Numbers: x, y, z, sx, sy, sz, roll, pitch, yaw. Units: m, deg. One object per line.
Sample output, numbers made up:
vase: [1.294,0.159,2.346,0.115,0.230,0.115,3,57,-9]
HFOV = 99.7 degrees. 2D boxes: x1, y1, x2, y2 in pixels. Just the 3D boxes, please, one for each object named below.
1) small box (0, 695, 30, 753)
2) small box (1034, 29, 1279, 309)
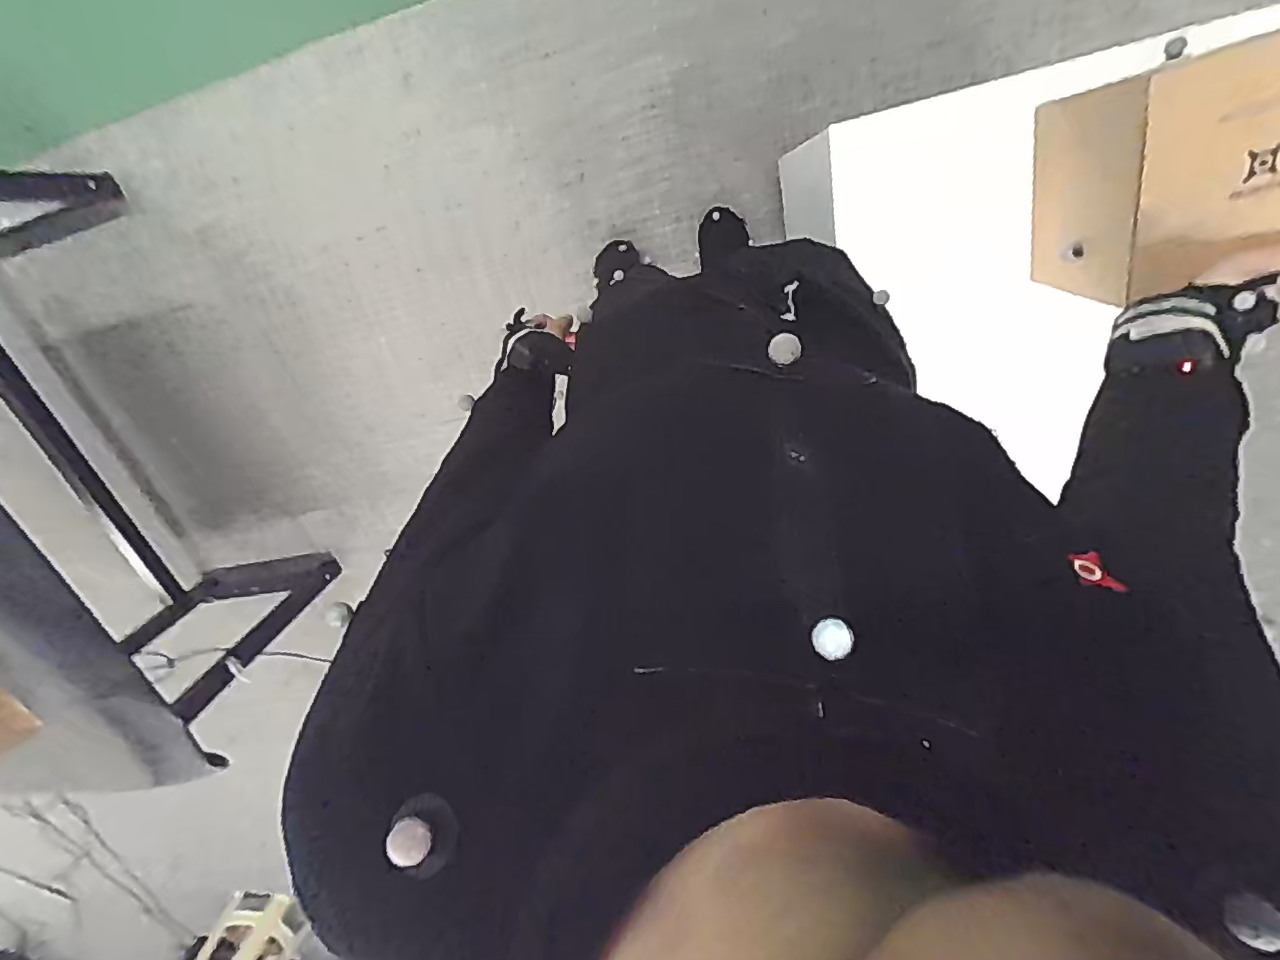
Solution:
small box: [-1.288,0.468,0.970,0.179,0.176,0.168,-14,113,15]
small box: [0.482,-0.272,0.478,0.168,0.176,0.179,-12,115,14]
